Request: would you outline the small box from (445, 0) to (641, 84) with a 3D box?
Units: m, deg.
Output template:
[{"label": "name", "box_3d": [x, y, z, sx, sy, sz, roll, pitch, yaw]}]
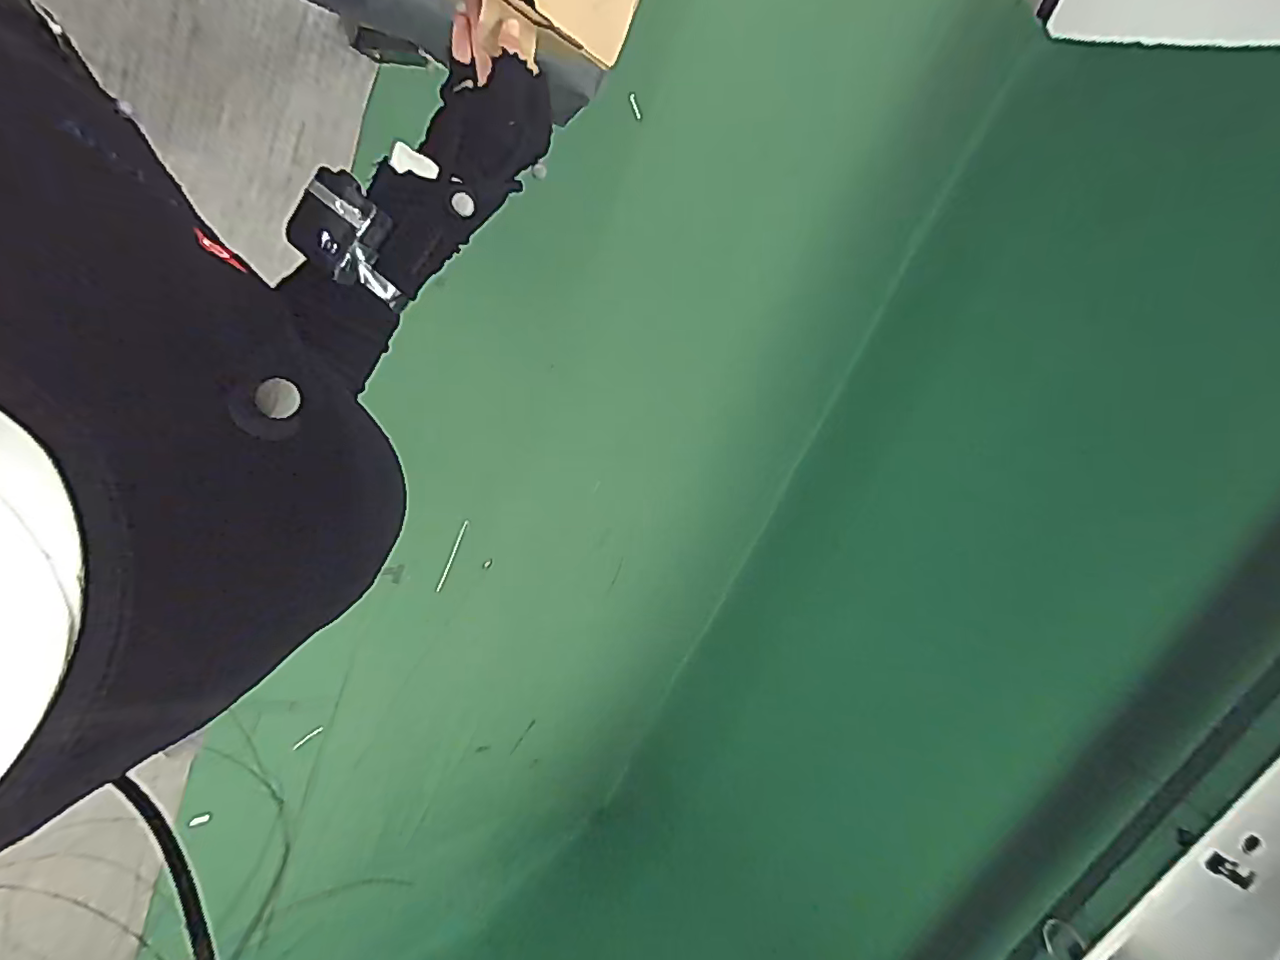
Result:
[{"label": "small box", "box_3d": [-0.091, -0.437, 0.390, 0.168, 0.176, 0.179, 0, 126, -48]}]
